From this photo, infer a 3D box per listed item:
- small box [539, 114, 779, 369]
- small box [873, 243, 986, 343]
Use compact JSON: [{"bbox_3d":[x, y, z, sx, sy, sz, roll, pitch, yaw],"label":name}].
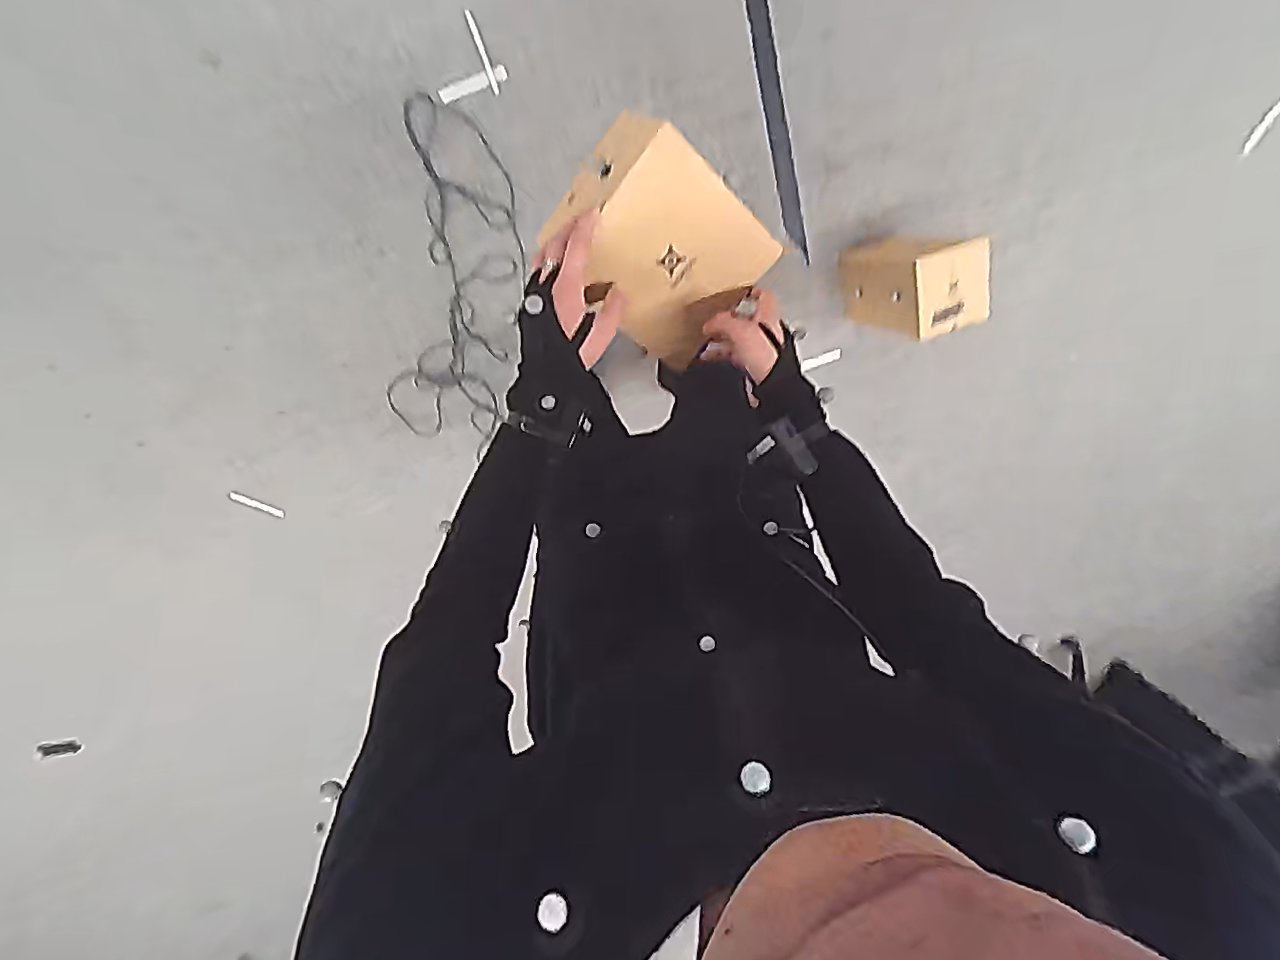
[{"bbox_3d":[0.008,-0.258,0.587,0.179,0.176,0.168,30,112,-33],"label":"small box"},{"bbox_3d":[0.662,-0.437,1.249,0.168,0.176,0.179,-18,114,-1],"label":"small box"}]
